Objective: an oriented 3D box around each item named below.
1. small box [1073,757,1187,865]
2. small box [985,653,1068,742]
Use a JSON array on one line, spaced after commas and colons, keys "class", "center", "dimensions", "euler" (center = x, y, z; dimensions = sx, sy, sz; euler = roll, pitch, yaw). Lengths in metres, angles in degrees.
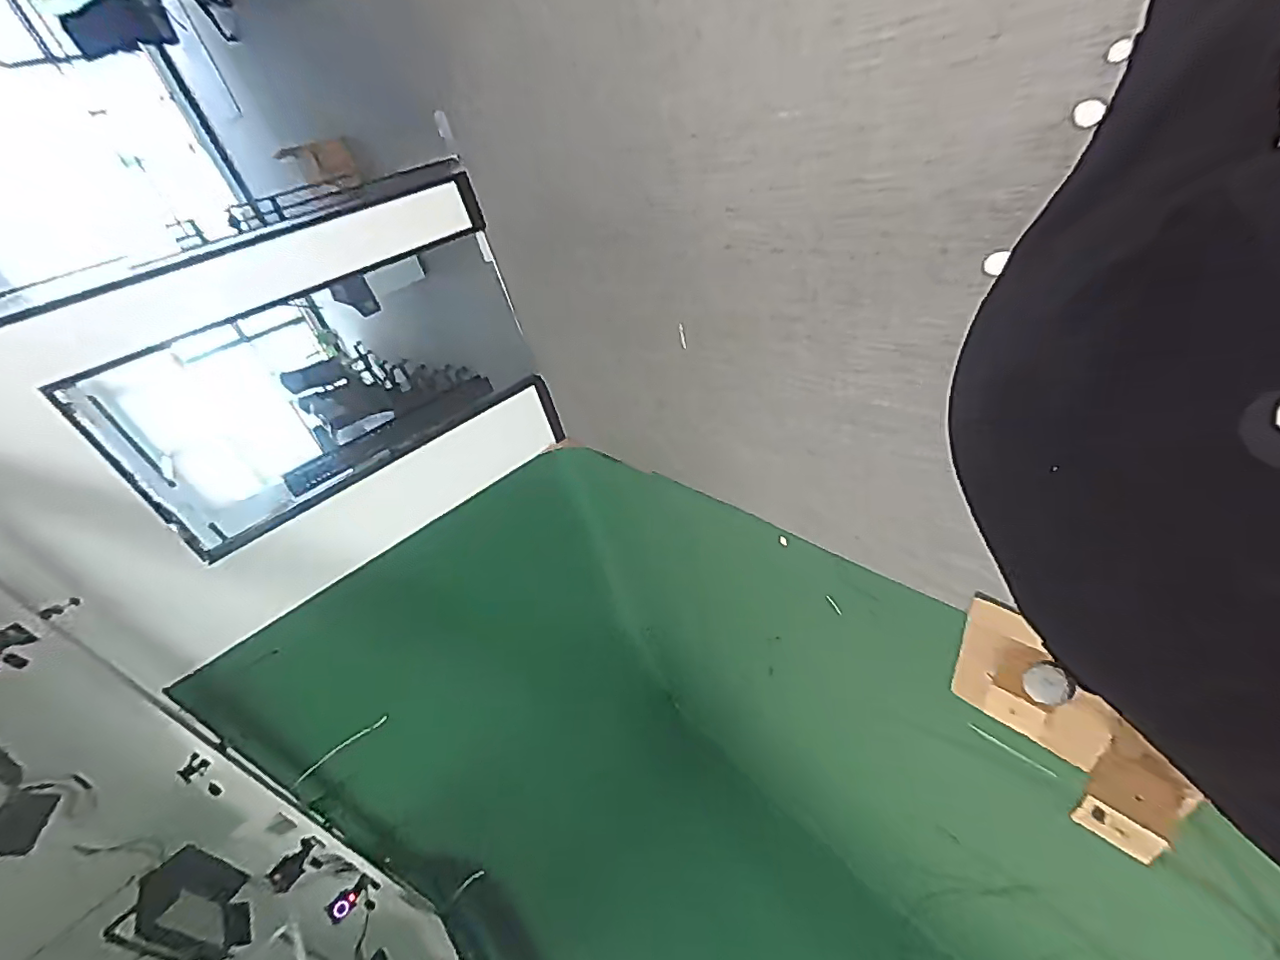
[{"class": "small box", "center": [1.364, 0.911, 1.508], "dimensions": [0.179, 0.176, 0.168], "euler": [27, 143, 39]}, {"class": "small box", "center": [1.281, 0.715, 1.791], "dimensions": [0.168, 0.176, 0.179], "euler": [26, 142, 44]}]
